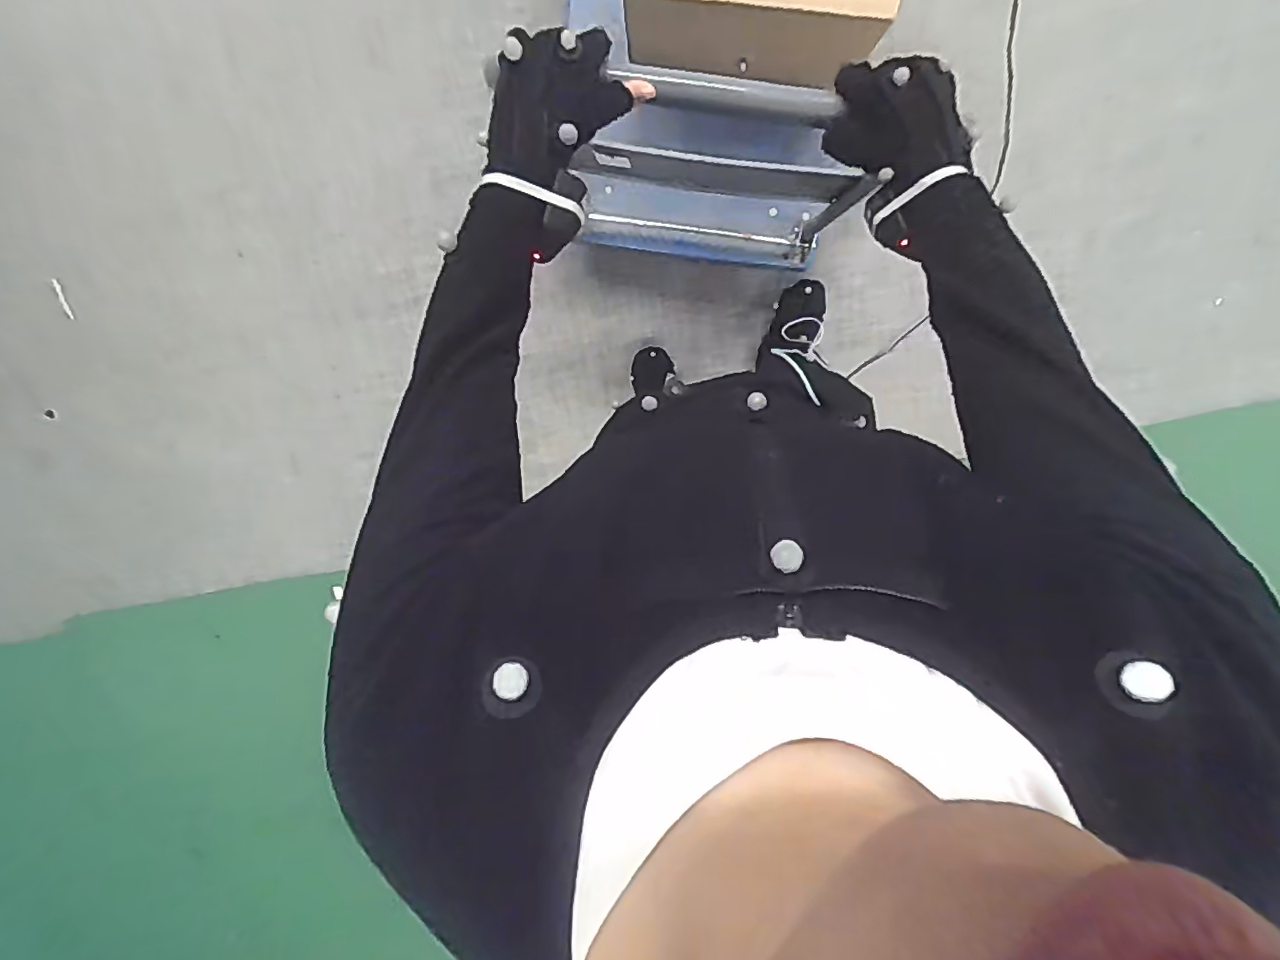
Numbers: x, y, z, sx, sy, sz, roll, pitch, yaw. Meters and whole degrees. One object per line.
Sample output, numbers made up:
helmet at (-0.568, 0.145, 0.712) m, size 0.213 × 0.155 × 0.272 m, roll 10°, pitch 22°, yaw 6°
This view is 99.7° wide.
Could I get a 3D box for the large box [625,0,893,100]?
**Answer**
large box at (0.197, -0.882, 0.909) m, size 0.408 × 0.320 × 0.320 m, roll 6°, pitch 105°, yaw 2°
